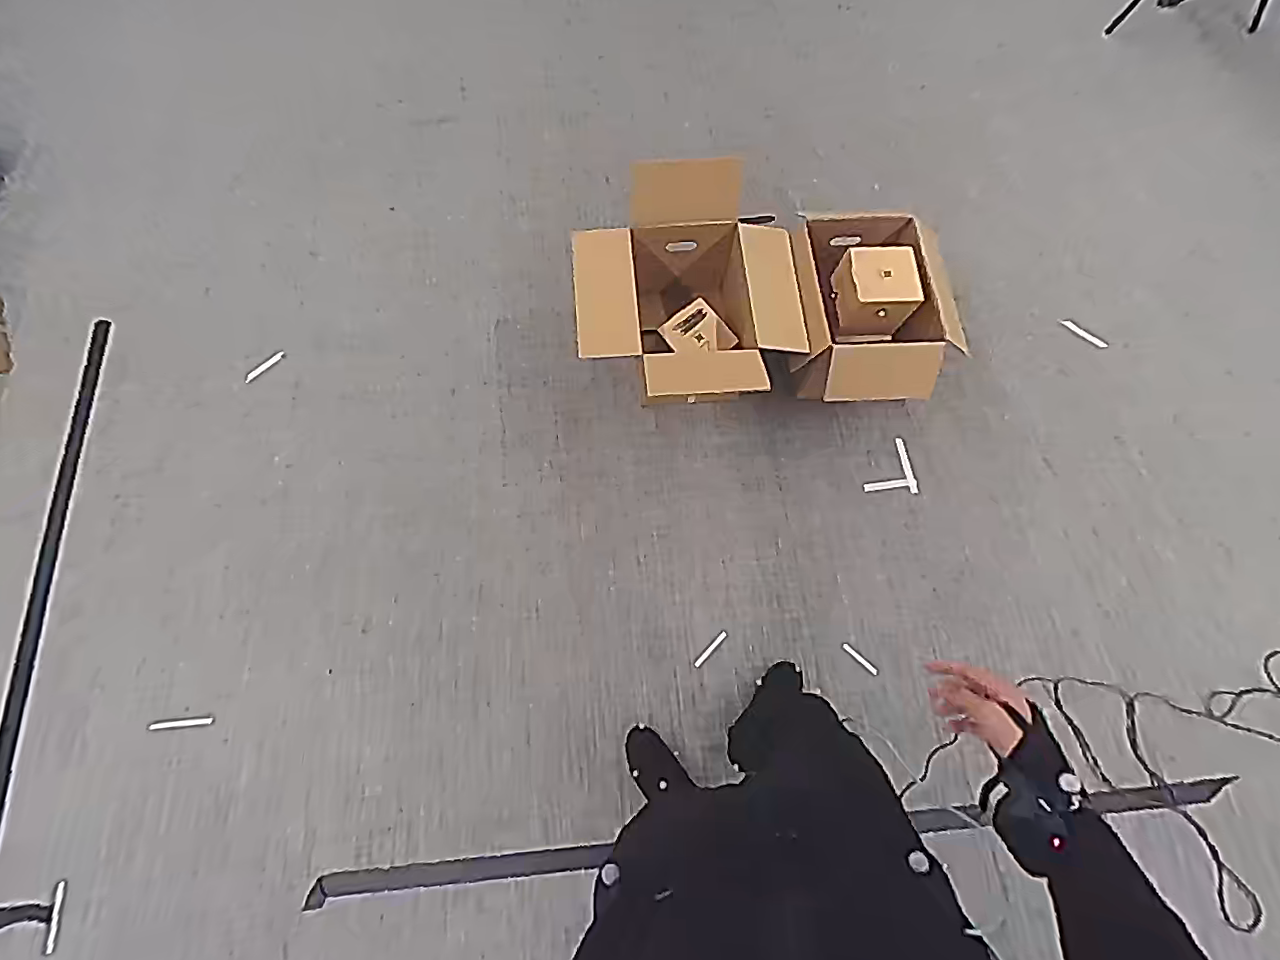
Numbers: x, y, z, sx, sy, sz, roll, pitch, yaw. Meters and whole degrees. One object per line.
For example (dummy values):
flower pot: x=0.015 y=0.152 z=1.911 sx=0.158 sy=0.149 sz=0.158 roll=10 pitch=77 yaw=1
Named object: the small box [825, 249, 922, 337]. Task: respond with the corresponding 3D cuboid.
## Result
small box: x=0.629 y=-0.504 z=1.473 sx=0.179 sy=0.176 sz=0.168 roll=-3 pitch=75 yaw=-2
